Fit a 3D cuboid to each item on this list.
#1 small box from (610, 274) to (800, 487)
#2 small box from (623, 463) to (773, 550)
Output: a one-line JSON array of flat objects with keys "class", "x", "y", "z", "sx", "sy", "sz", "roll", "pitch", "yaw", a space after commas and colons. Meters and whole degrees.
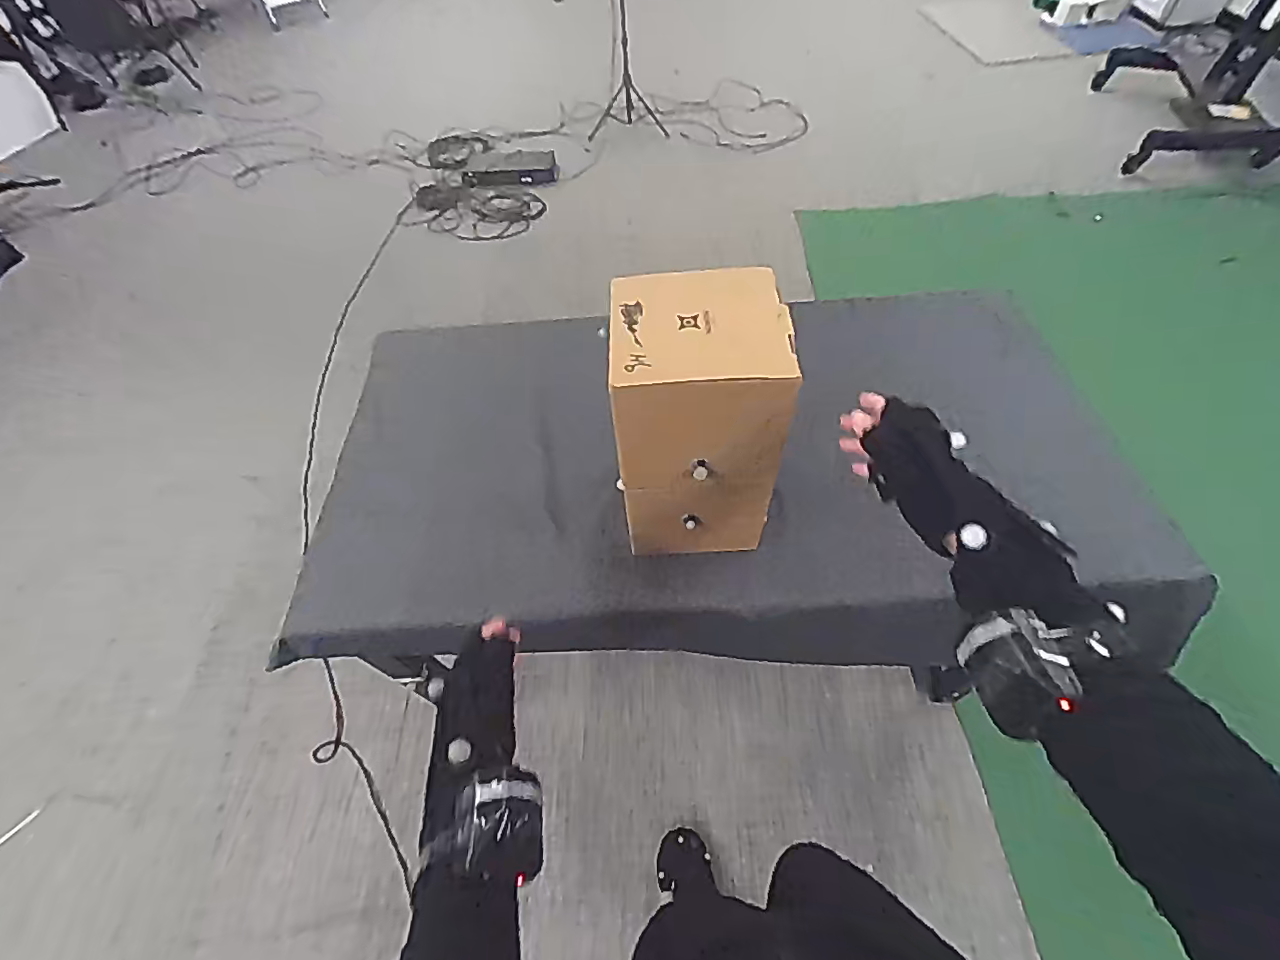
[{"class": "small box", "x": 0.062, "y": -0.104, "z": 0.601, "sx": 0.179, "sy": 0.176, "sz": 0.168, "roll": -2, "pitch": 54, "yaw": 2}, {"class": "small box", "x": 0.072, "y": -0.015, "z": 0.735, "sx": 0.179, "sy": 0.176, "sz": 0.168, "roll": -1, "pitch": 53, "yaw": 3}]
